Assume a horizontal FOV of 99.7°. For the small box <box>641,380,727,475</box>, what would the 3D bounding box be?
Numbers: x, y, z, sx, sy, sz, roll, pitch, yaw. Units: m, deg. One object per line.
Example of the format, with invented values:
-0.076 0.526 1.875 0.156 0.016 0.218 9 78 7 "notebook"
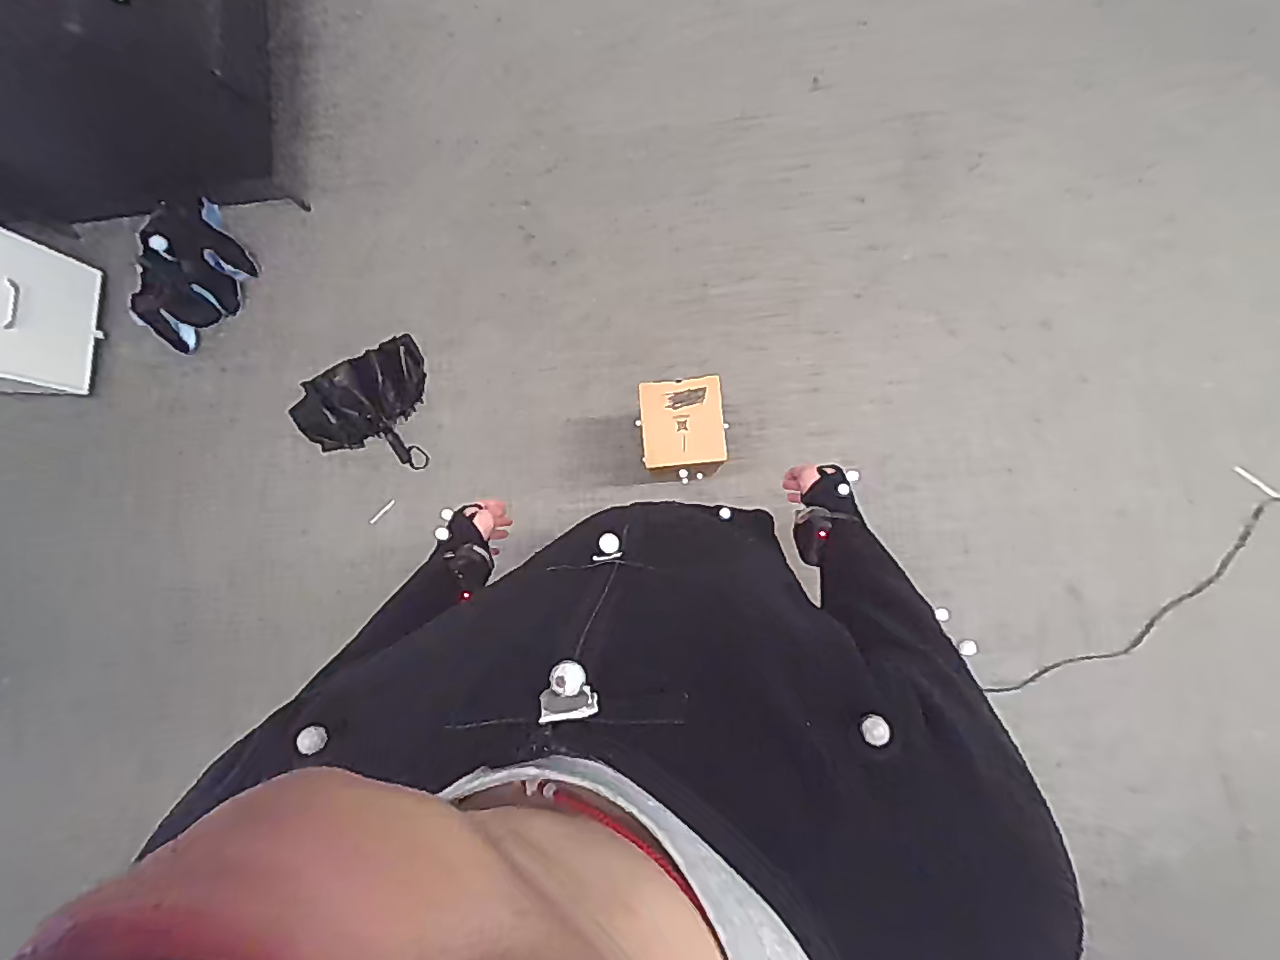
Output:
0.092 -0.106 1.165 0.168 0.176 0.179 -5 89 4 "small box"
